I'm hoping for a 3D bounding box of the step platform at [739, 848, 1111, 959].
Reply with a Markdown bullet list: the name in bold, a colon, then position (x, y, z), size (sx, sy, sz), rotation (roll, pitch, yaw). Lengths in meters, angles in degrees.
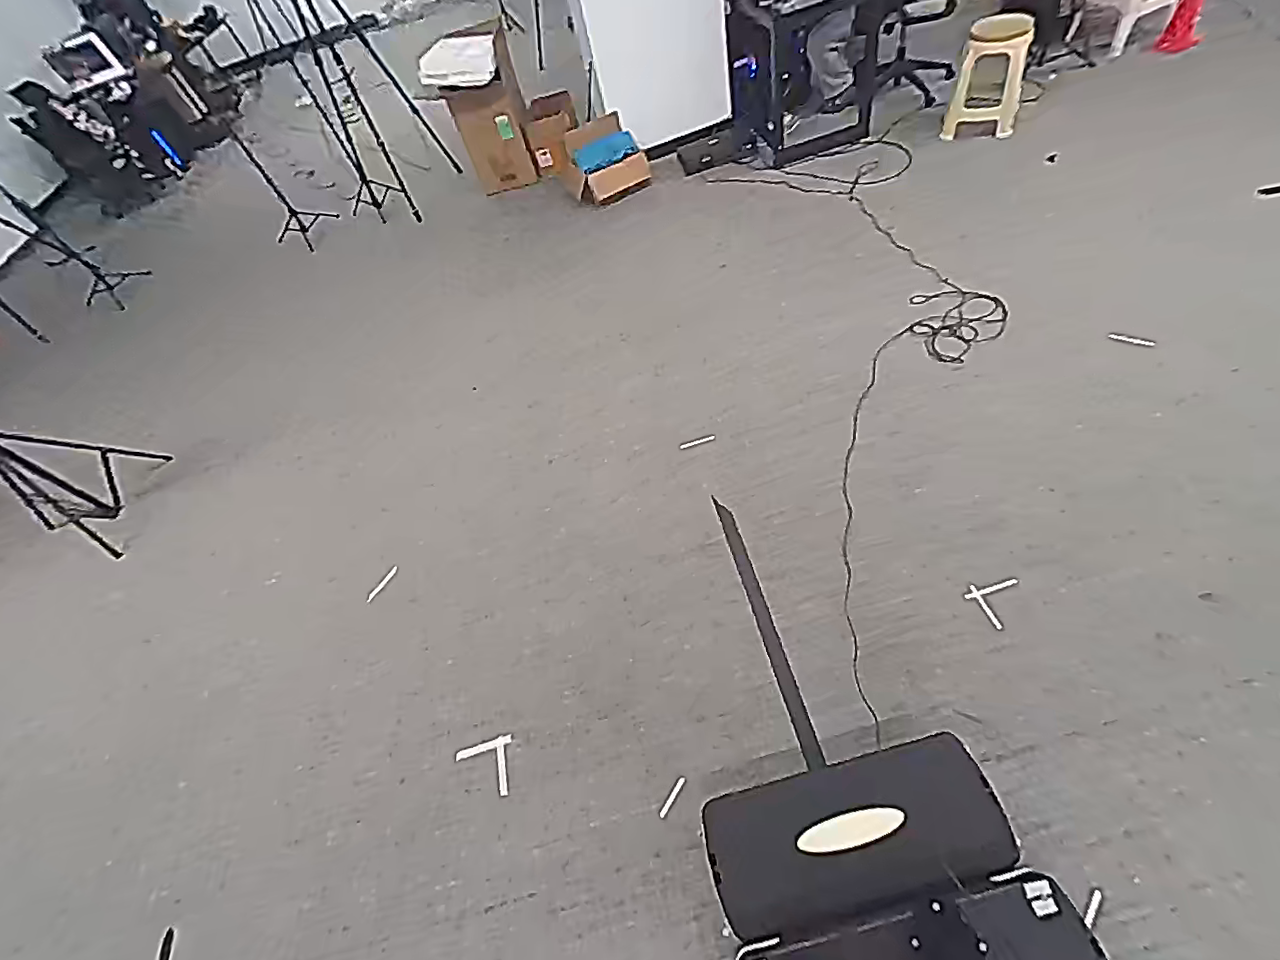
- **step platform**: position (0.547, 0.987, 1.072), size (0.684, 0.204, 0.286), rotation (-19, 50, 2)
